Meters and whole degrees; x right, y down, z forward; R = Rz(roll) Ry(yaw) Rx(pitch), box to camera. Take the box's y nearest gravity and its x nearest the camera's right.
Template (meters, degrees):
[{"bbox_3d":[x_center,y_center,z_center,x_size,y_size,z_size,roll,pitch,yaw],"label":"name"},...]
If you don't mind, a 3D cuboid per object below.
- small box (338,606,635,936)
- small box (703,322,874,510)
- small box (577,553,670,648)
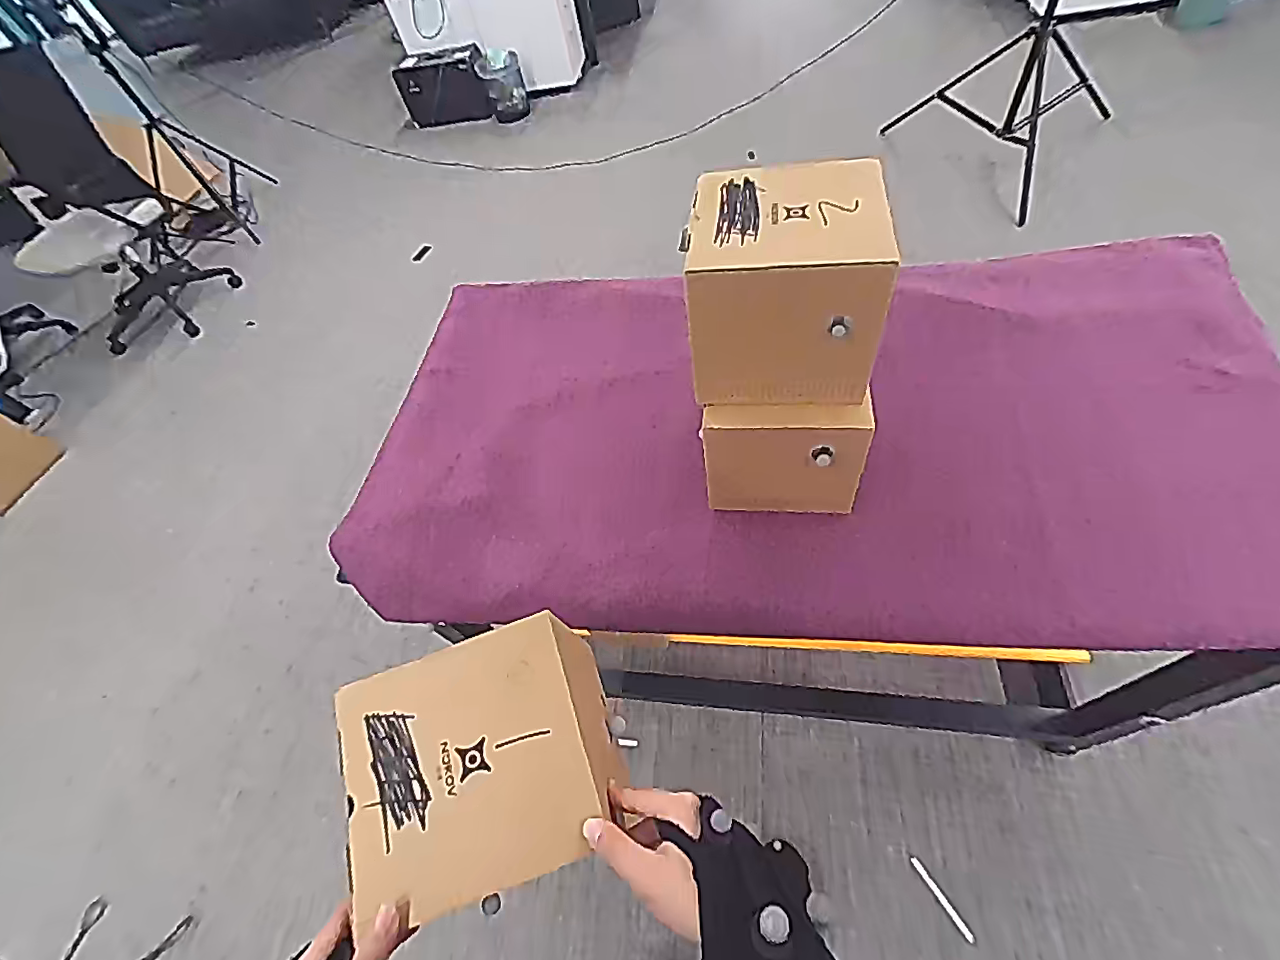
[{"bbox_3d":[-0.115,0.229,0.449,0.179,0.176,0.168,-19,63,-4],"label":"small box"},{"bbox_3d":[0.175,-0.075,0.670,0.179,0.176,0.168,1,55,12],"label":"small box"},{"bbox_3d":[-0.028,0.277,1.231,0.179,0.176,0.168,0,58,11],"label":"small box"}]
